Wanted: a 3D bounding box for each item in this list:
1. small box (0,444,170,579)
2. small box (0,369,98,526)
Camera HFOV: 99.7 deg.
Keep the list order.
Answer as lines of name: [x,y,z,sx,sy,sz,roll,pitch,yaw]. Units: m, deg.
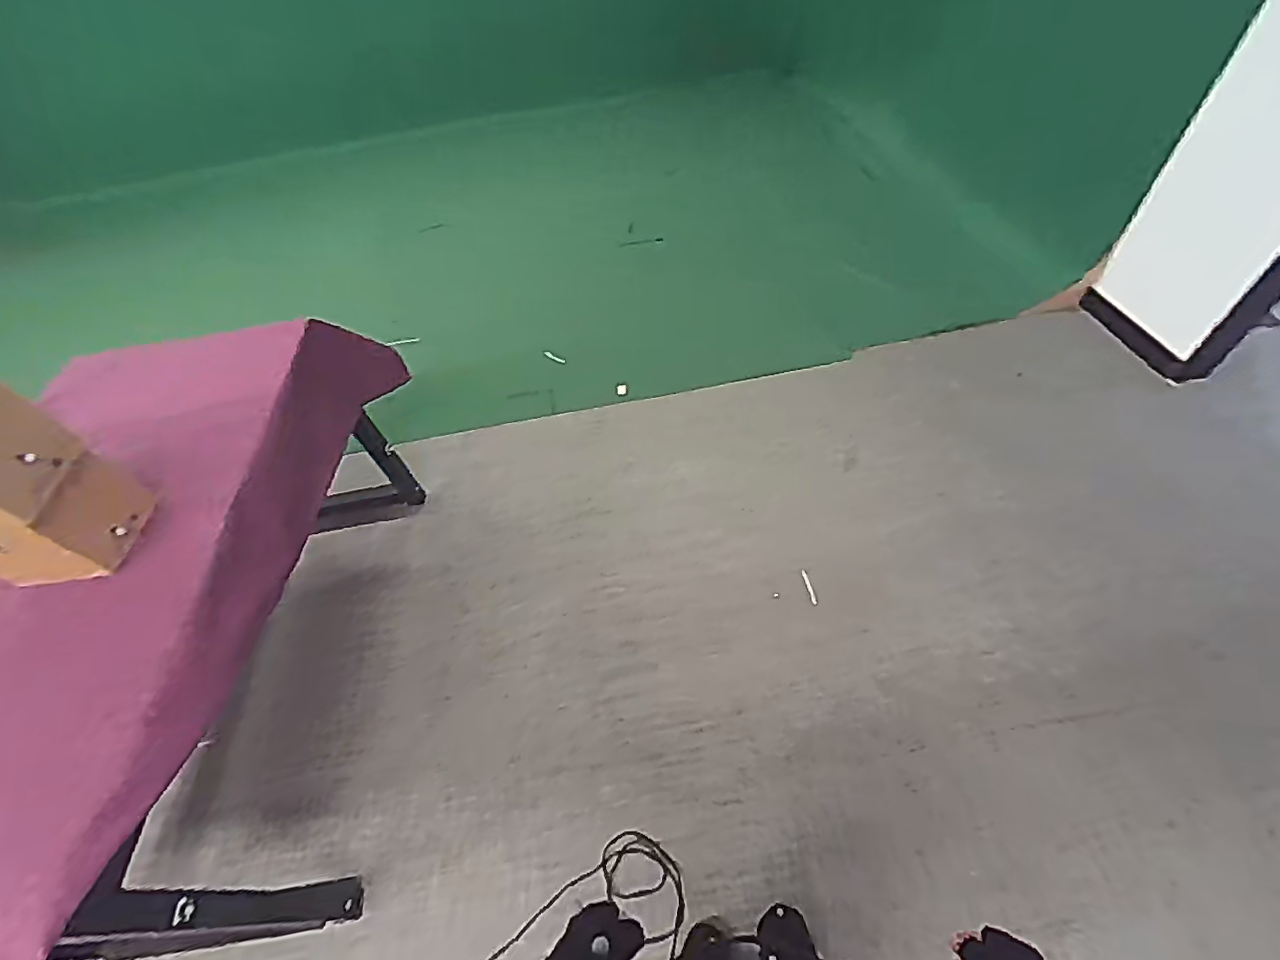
small box: [-0.988,0.059,0.930,0.179,0.176,0.168,-6,53,3]
small box: [-0.990,-0.038,0.798,0.179,0.176,0.168,-7,53,2]
